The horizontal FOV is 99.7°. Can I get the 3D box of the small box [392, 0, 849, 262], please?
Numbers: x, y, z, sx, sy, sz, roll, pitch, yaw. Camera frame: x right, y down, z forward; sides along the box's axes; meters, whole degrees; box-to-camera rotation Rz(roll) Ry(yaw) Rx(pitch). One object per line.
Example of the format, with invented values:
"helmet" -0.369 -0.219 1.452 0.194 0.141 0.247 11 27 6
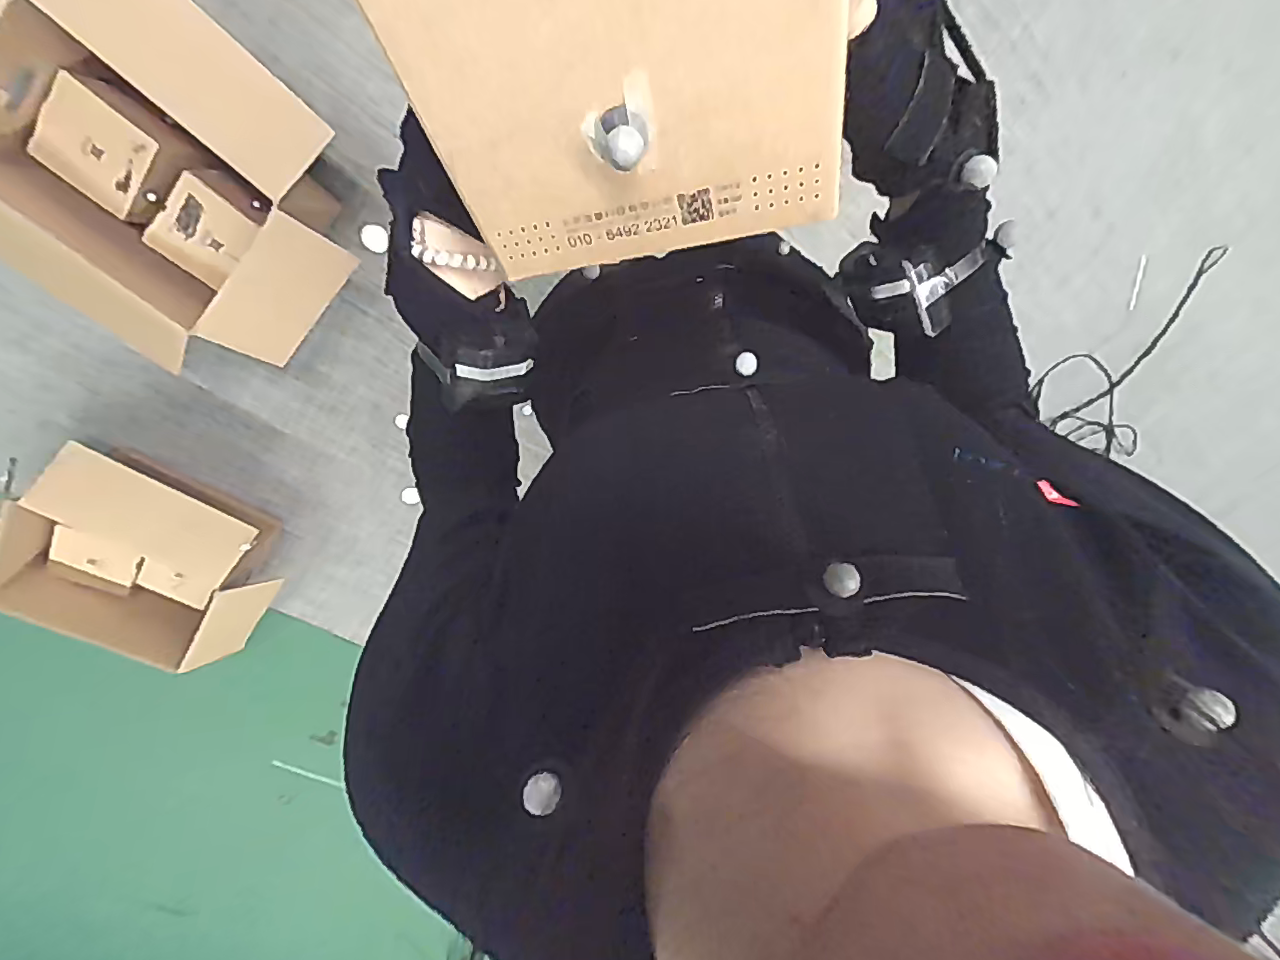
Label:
"small box" -0.004 -0.230 0.239 0.168 0.179 0.176 -5 147 15
